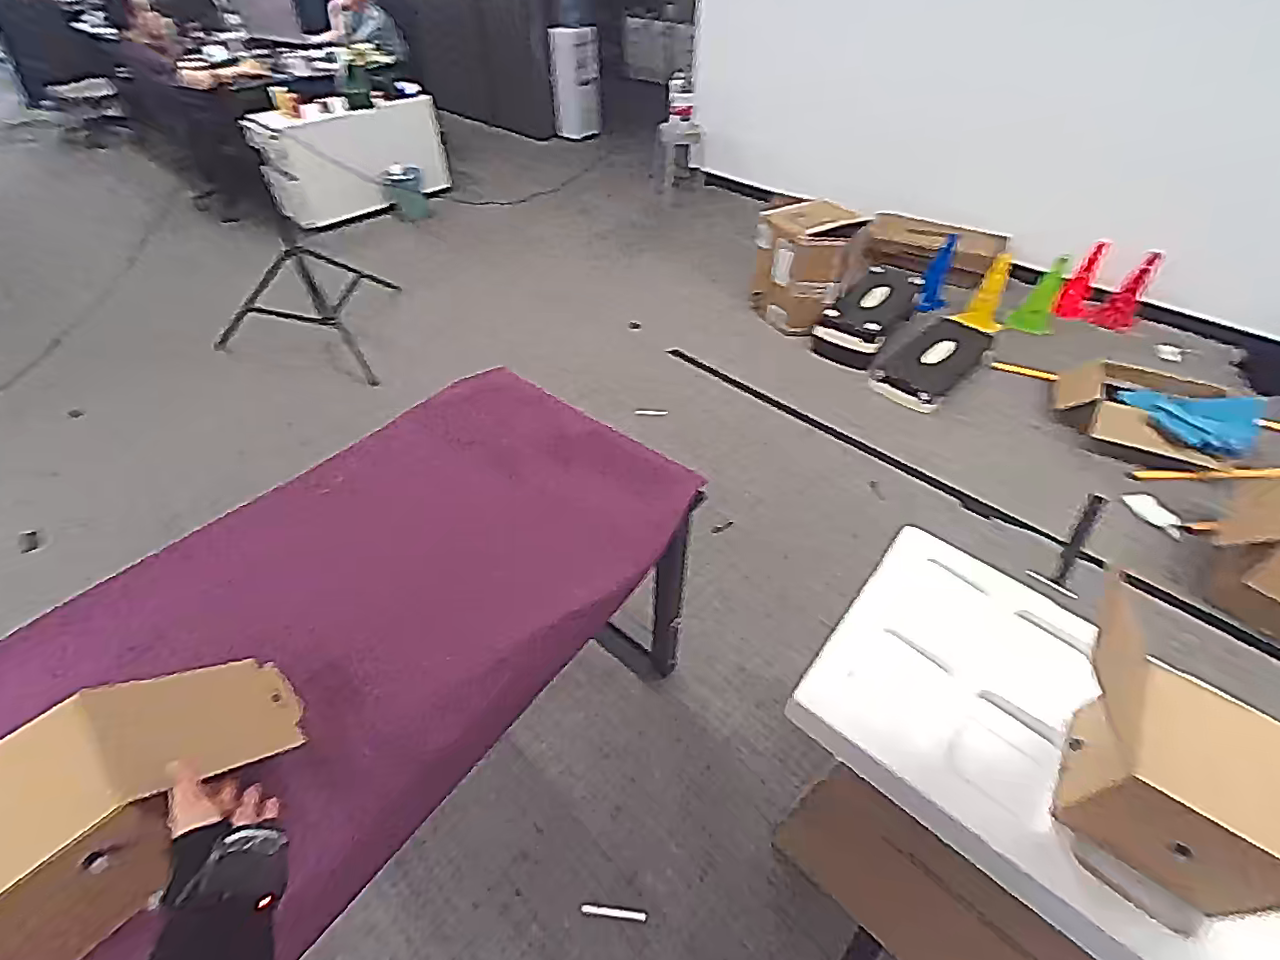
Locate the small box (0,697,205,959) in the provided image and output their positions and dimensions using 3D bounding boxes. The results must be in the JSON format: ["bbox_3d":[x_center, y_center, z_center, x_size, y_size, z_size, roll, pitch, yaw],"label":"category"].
[{"bbox_3d":[-0.605,0.375,0.565,0.168,0.176,0.179,31,54,28],"label":"small box"}]
